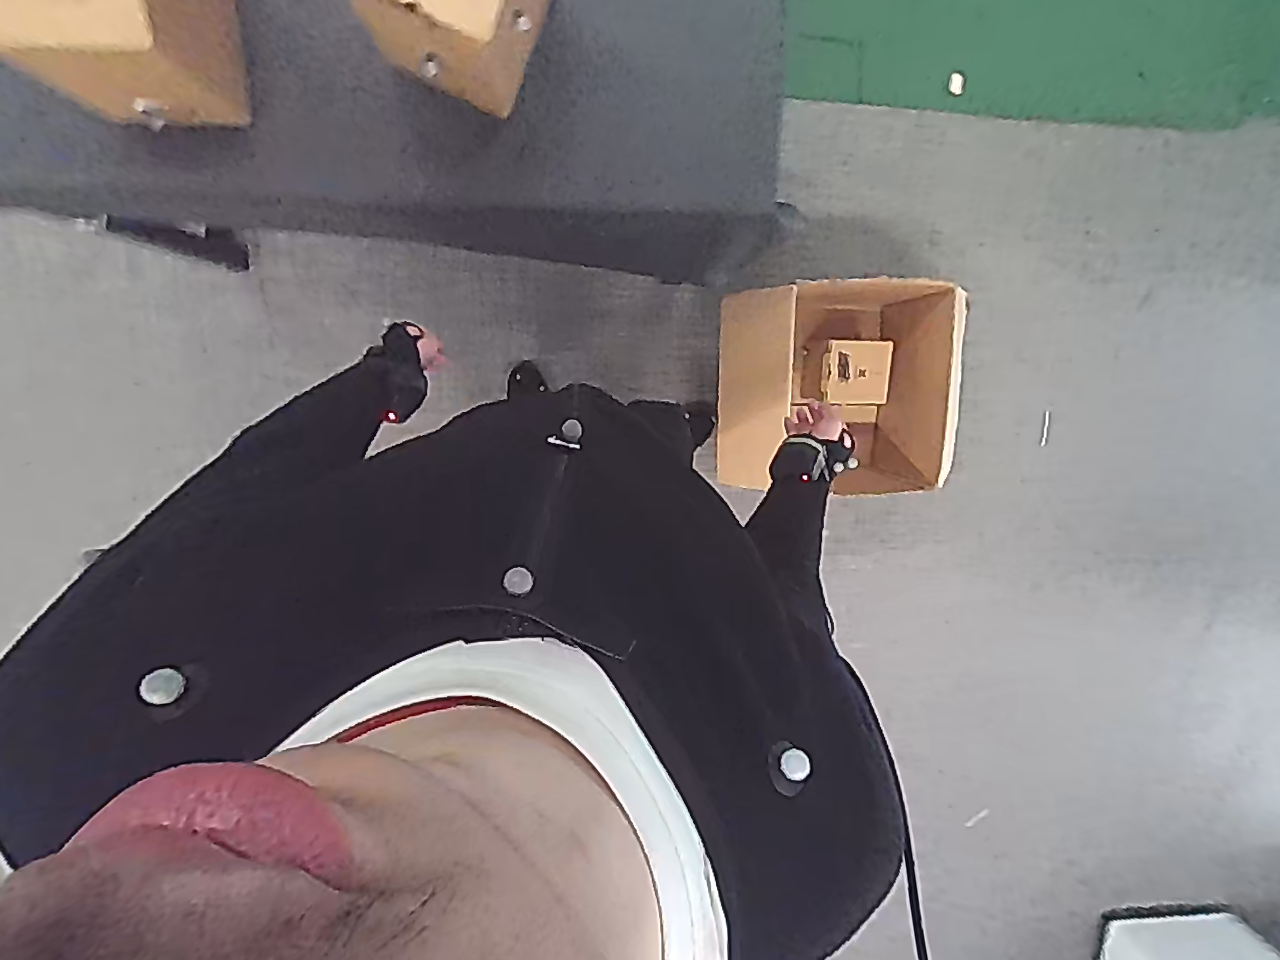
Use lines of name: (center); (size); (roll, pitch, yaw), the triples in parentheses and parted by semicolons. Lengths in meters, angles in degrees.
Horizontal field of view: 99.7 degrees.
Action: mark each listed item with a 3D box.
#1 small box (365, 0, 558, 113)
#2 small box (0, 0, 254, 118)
small box: (-0.202, -0.583, 0.635); (0.168, 0.176, 0.179); (22, 98, -9)
small box: (-0.563, -0.533, 0.589); (0.168, 0.176, 0.179); (-2, 101, -6)
